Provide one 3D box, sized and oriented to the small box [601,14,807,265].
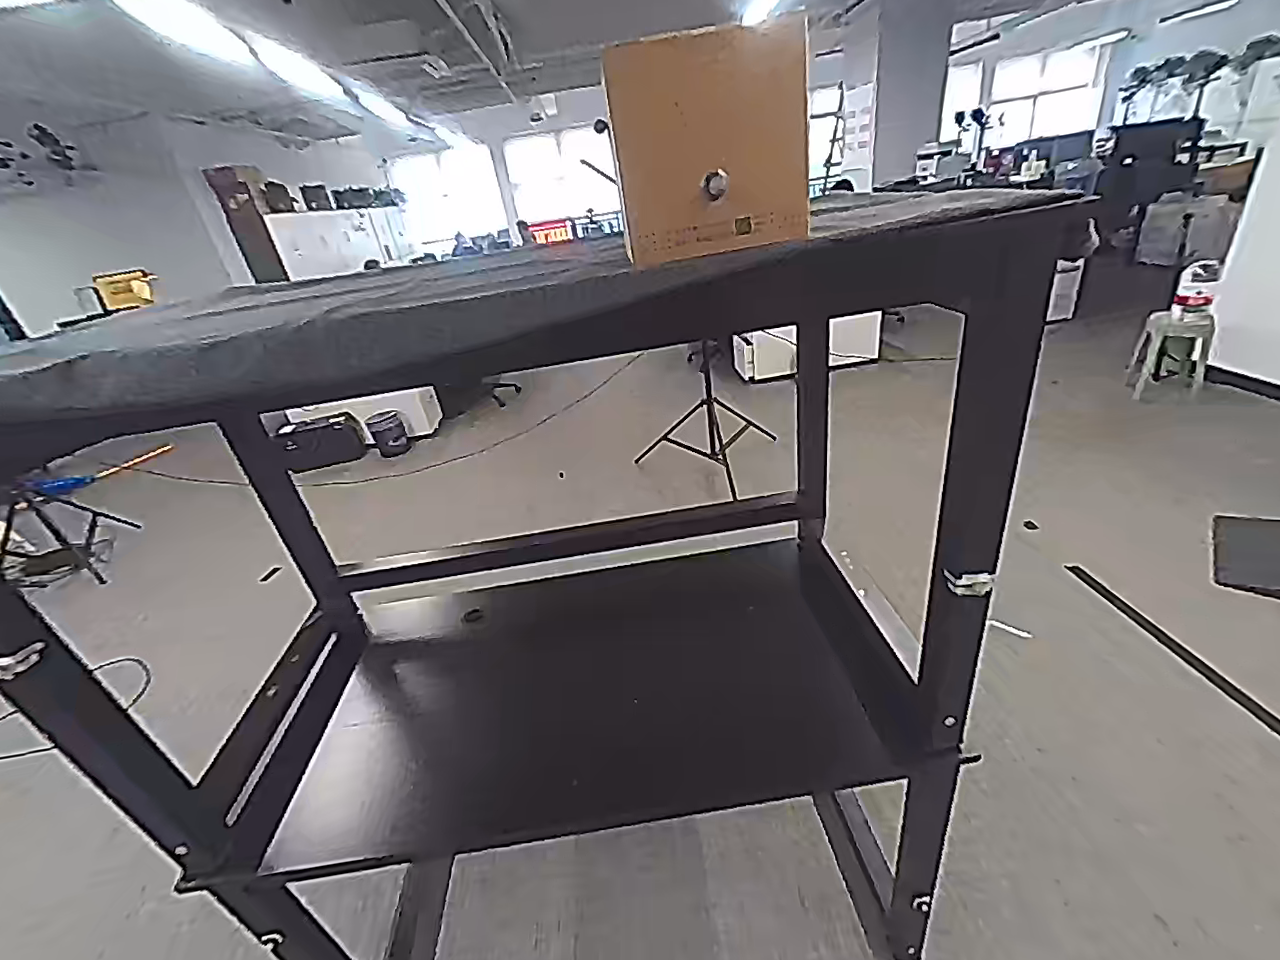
[{"bbox_3d":[0.058,-0.318,0.537,0.168,0.176,0.179,-10,27,1],"label":"small box"}]
